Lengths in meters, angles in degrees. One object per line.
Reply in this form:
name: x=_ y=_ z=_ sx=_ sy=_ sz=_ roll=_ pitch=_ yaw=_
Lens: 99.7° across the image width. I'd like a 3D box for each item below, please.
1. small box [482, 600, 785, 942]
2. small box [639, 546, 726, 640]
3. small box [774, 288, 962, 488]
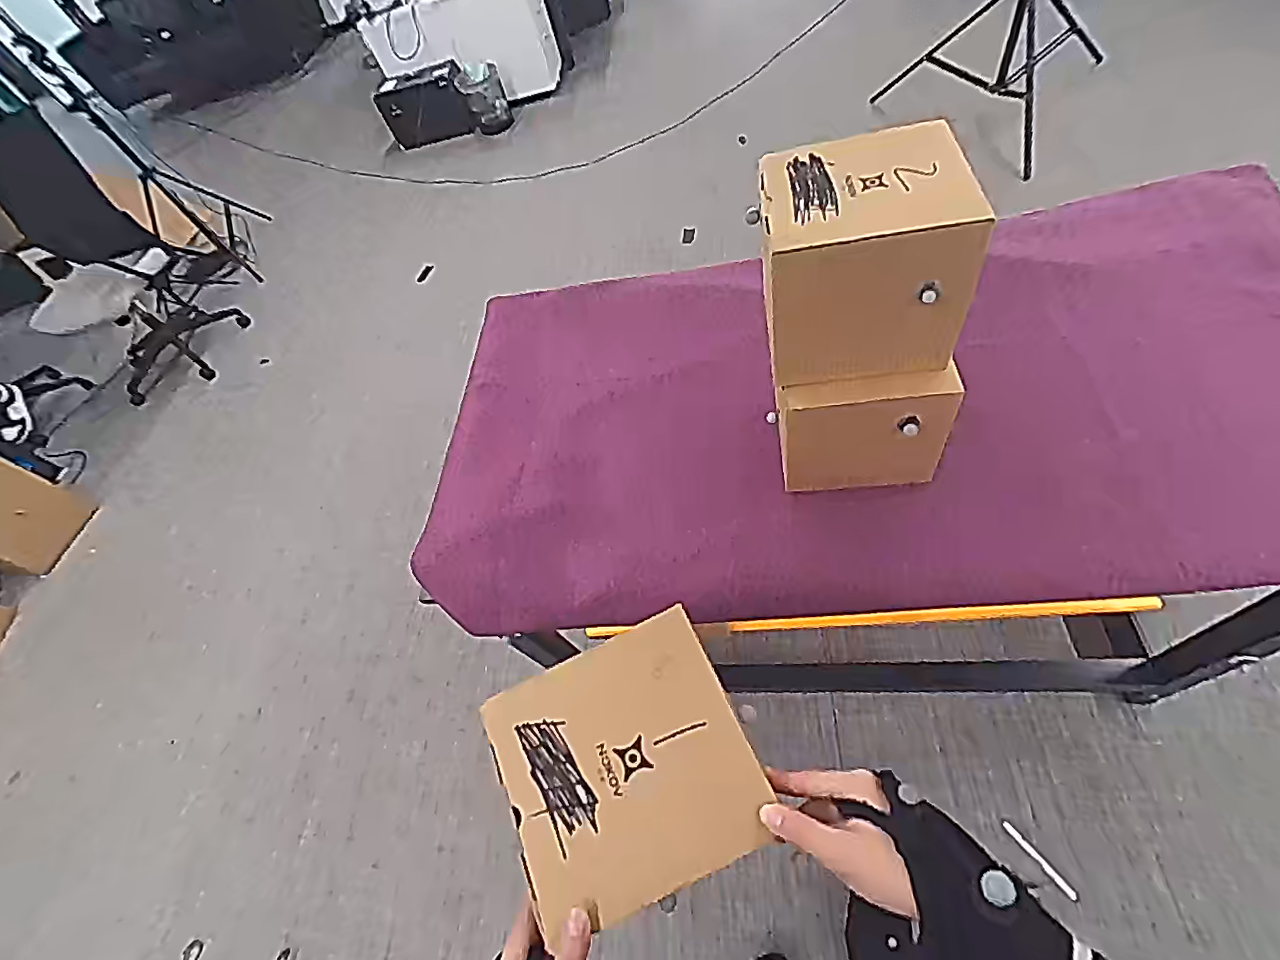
small box: x=0.000 y=0.228 z=0.450 sx=0.179 sy=0.176 sz=0.168 roll=-25 pitch=63 yaw=-3
small box: x=0.102 y=0.262 z=1.230 sx=0.179 sy=0.176 sz=0.168 roll=-6 pitch=58 yaw=12
small box: x=0.260 y=-0.105 z=0.665 sx=0.179 sy=0.176 sz=0.168 roll=-5 pitch=55 yaw=13
